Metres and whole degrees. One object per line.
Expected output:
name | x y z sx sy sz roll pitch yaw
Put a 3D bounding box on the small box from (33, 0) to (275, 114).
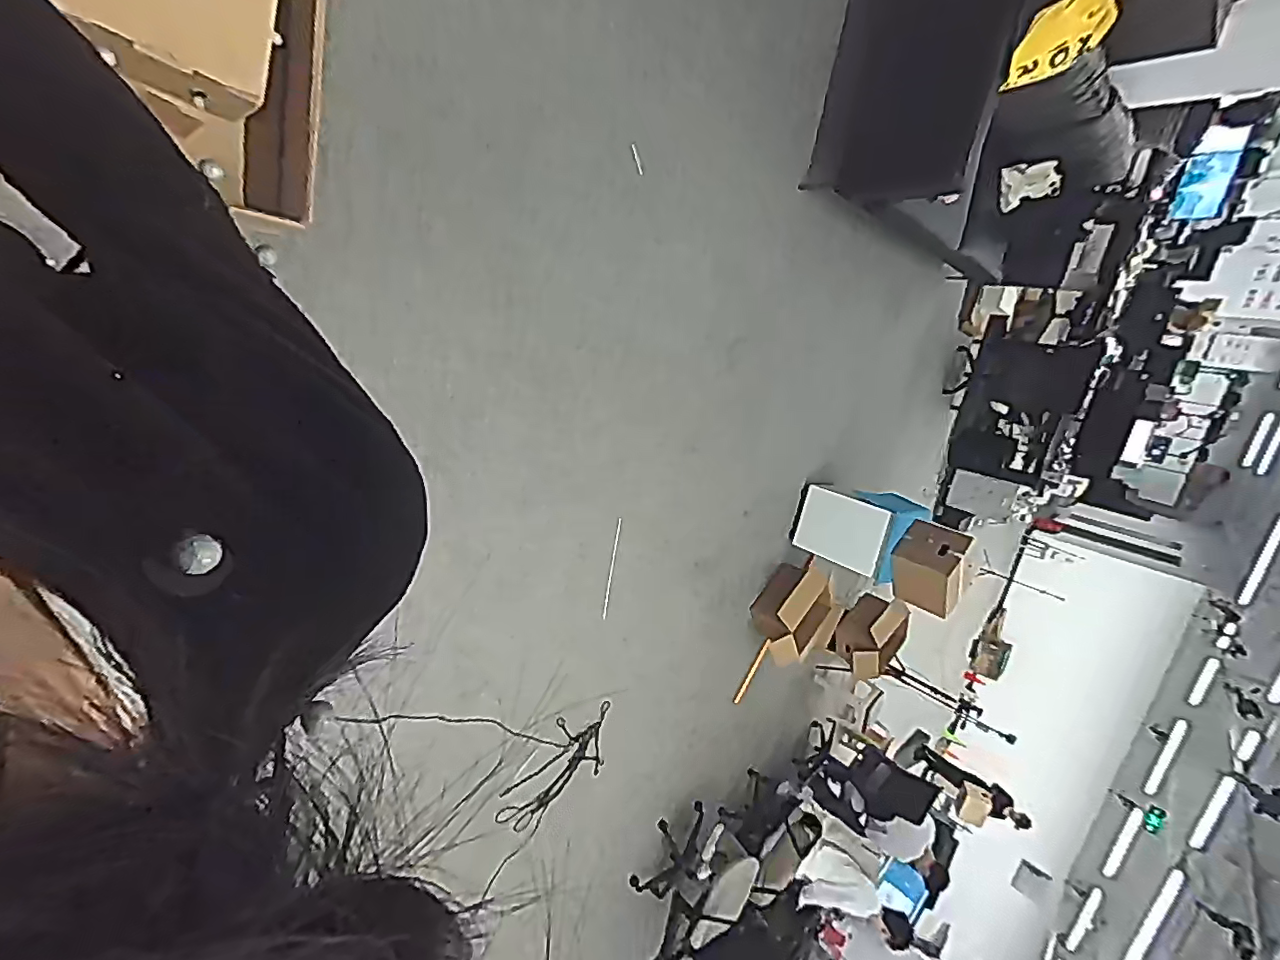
small box | -0.495 -0.515 0.557 0.168 0.176 0.179 5 104 -49
